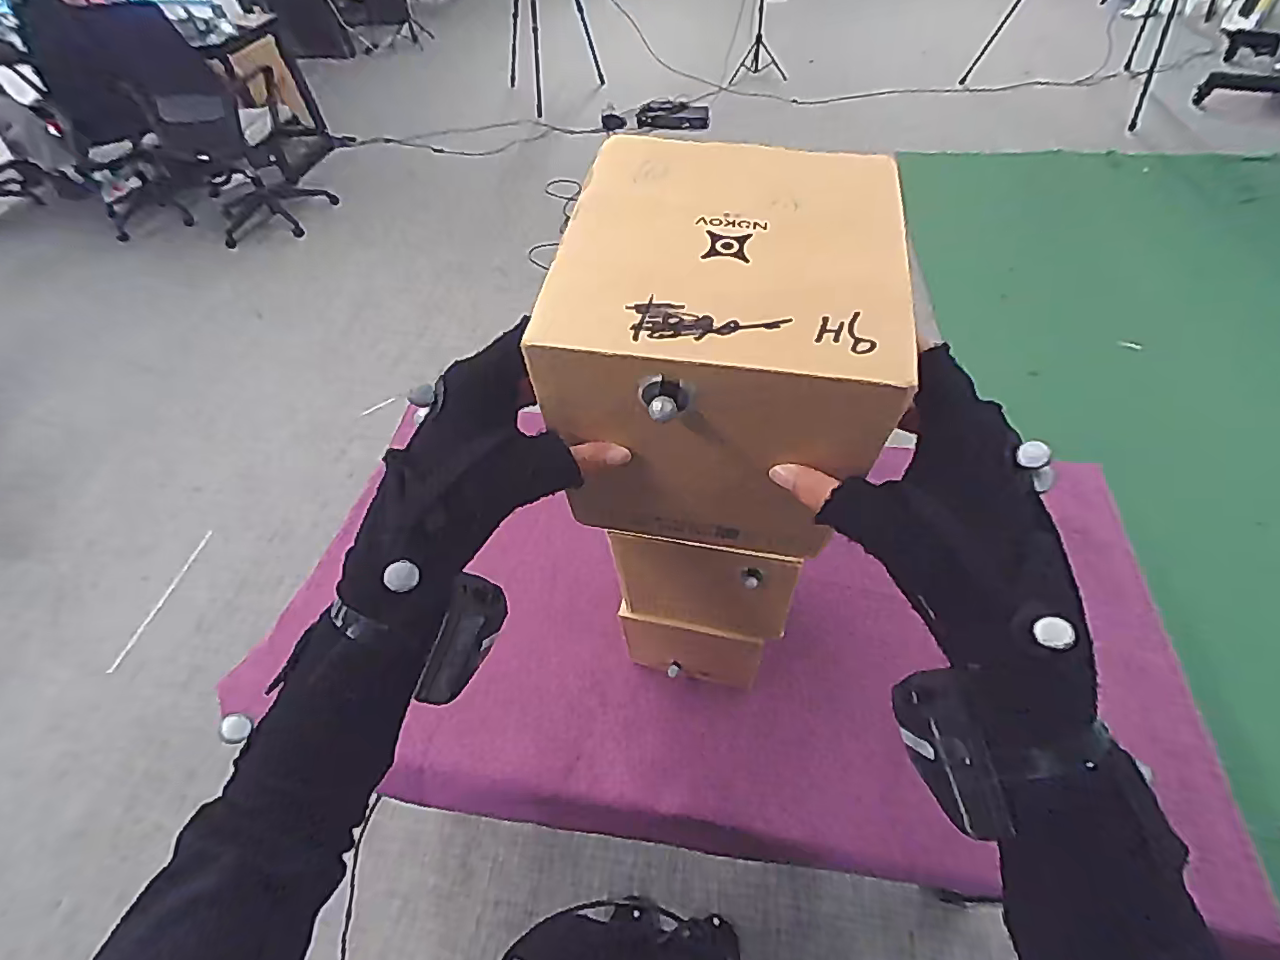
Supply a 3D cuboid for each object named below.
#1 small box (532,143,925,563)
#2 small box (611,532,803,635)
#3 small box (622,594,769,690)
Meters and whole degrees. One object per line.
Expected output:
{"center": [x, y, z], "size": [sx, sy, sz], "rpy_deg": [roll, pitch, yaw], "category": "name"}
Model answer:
{"center": [0.050, -0.072, 0.332], "size": [0.168, 0.176, 0.179], "rpy_deg": [8, 58, 8], "category": "small box"}
{"center": [0.079, 0.047, 0.573], "size": [0.179, 0.176, 0.168], "rpy_deg": [7, 53, 11], "category": "small box"}
{"center": [0.084, 0.146, 0.700], "size": [0.168, 0.176, 0.179], "rpy_deg": [9, 54, 12], "category": "small box"}
